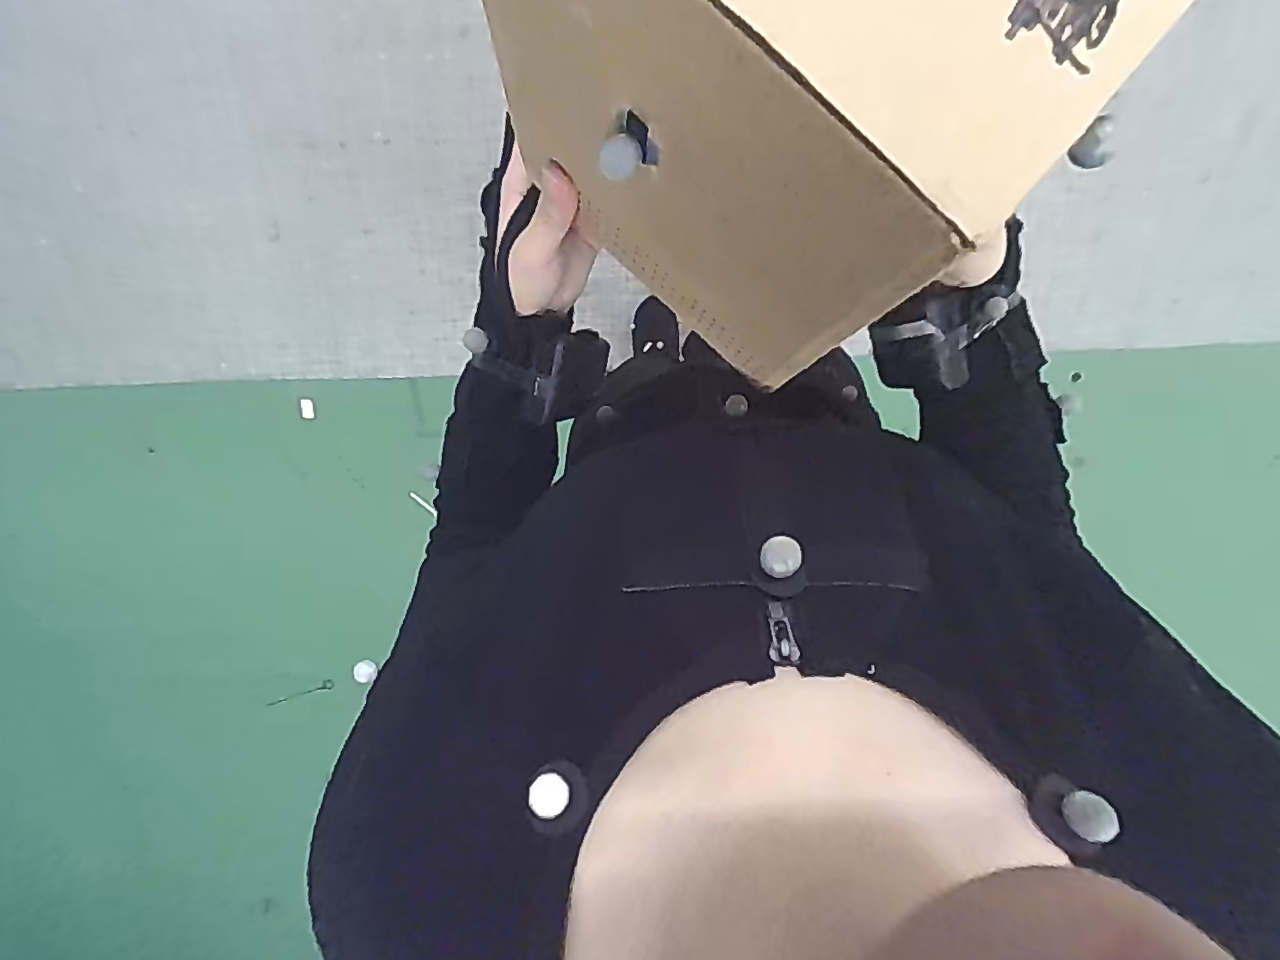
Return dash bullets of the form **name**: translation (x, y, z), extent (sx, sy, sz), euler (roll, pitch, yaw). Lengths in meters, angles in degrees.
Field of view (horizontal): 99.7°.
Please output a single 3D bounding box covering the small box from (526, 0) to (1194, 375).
- **small box**: translation (0.068, -0.168, 0.218), extent (0.179, 0.176, 0.168), euler (41, 87, 0)
